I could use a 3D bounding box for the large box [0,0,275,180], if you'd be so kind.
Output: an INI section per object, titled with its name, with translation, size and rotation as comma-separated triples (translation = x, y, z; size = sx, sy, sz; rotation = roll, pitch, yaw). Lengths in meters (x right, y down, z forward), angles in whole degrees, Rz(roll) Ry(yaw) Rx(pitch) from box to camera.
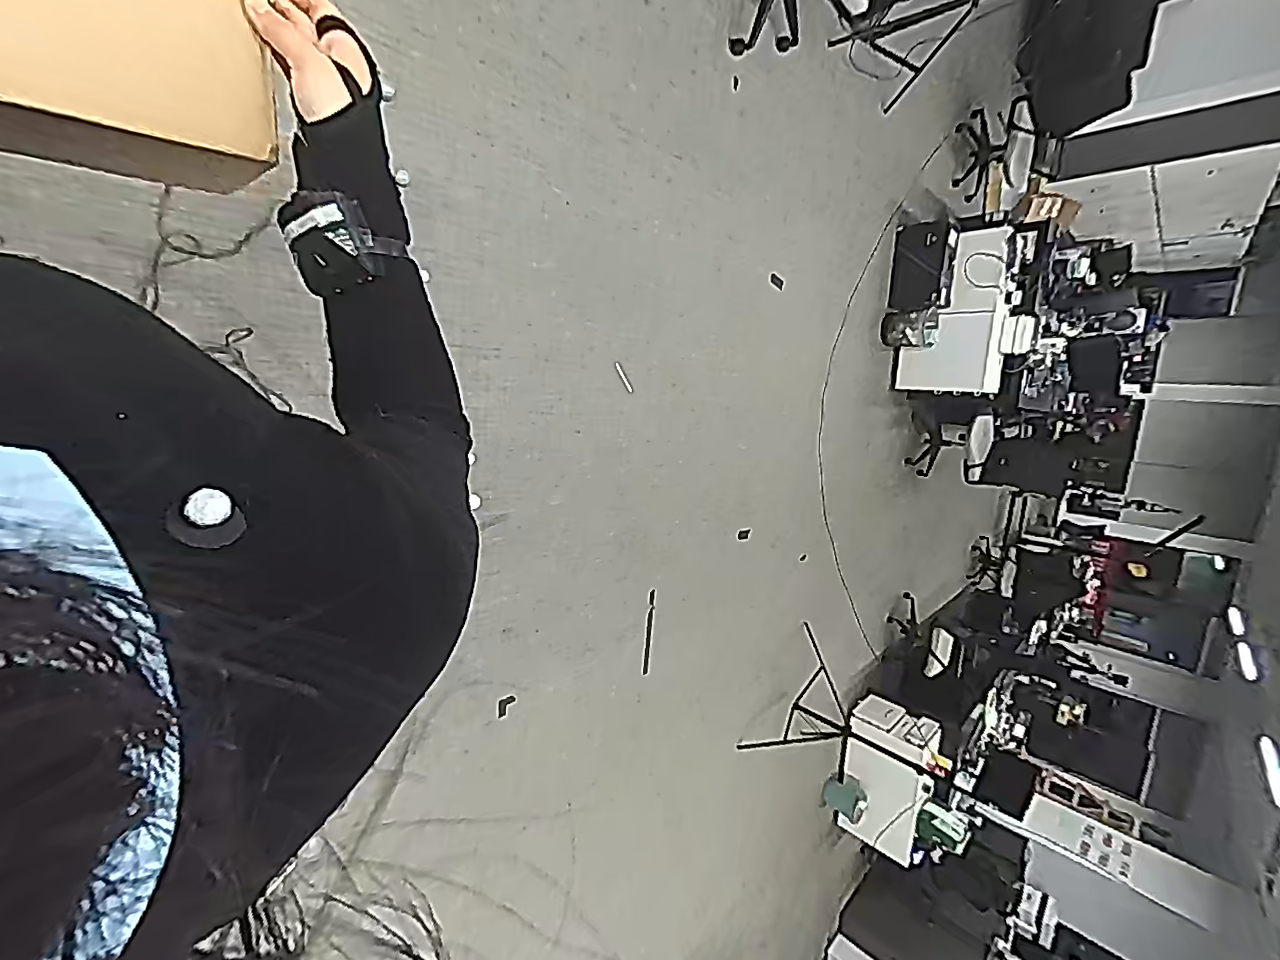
[large box]
translation = -0.510, -0.418, 0.351
size = 0.408, 0.320, 0.320
rotation = -8, 111, -40
